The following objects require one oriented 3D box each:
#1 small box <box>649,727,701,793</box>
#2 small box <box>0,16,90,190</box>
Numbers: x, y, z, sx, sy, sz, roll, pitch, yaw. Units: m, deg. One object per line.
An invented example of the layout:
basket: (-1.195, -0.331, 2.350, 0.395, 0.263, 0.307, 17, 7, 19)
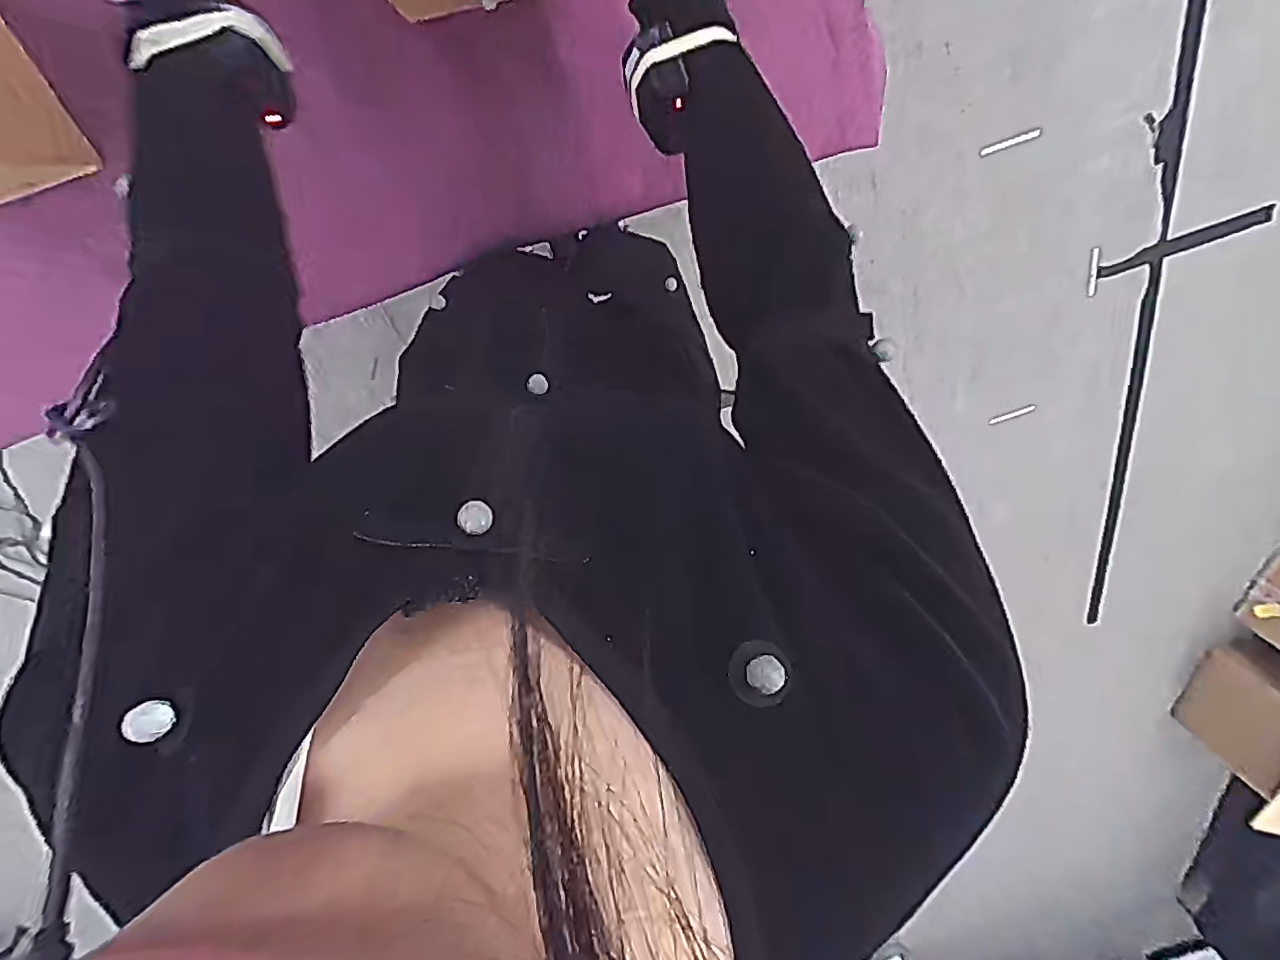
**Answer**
small box: (0.142, 1.158, 2.251, 0.168, 0.176, 0.179, -17, 121, 1)
small box: (-0.621, -0.322, 0.425, 0.168, 0.176, 0.179, -18, 121, 1)
